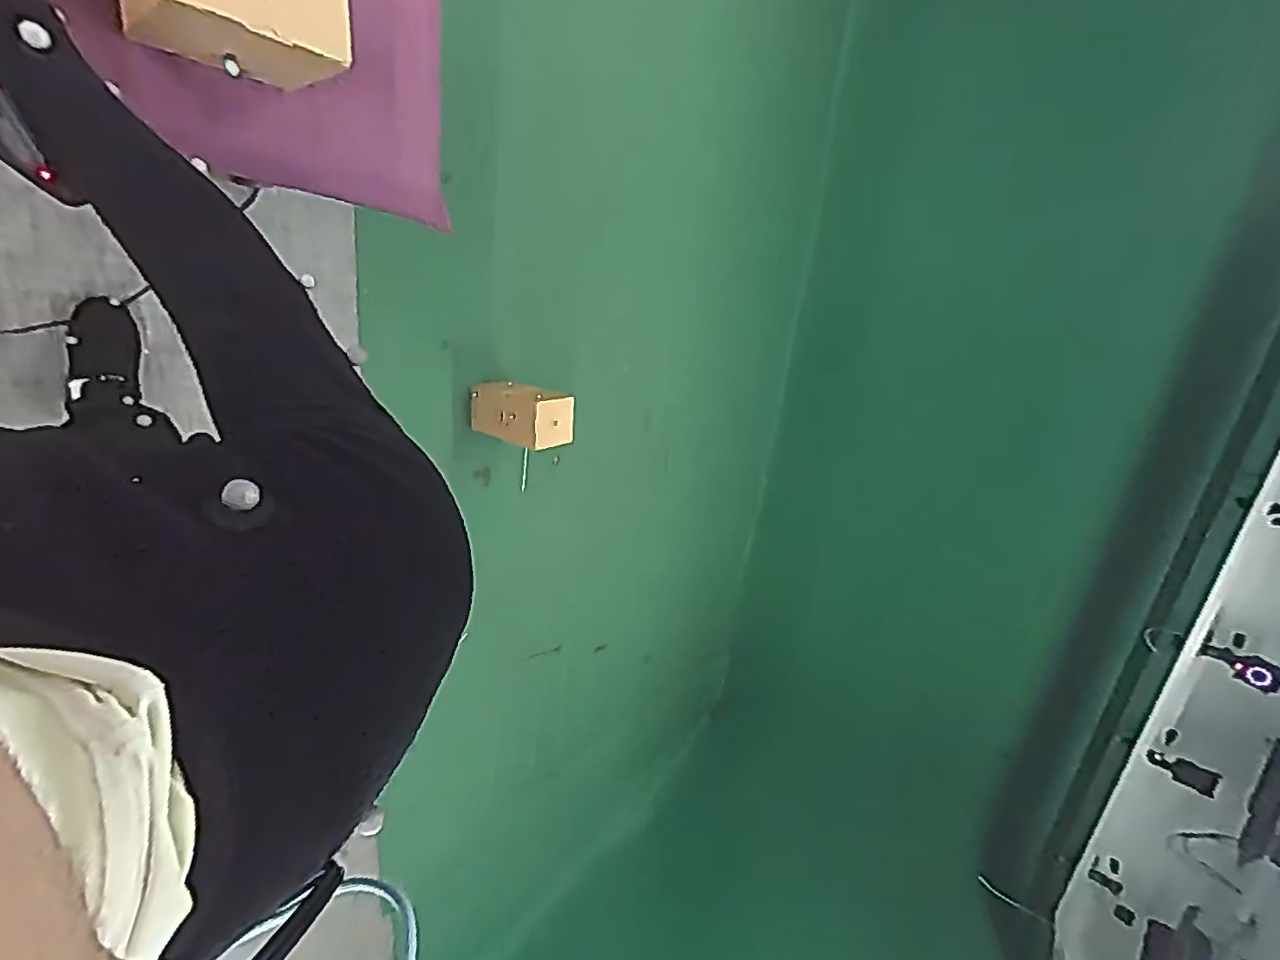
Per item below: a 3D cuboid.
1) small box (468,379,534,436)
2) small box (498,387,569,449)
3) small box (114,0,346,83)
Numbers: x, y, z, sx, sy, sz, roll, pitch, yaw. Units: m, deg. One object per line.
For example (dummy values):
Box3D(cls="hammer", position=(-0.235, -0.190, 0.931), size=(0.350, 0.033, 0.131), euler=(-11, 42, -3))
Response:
Box3D(cls="small box", position=(-0.502, -0.265, 1.948), size=(0.179, 0.176, 0.168), euler=(-20, 122, -51))
Box3D(cls="small box", position=(-0.369, -0.220, 1.866), size=(0.179, 0.176, 0.168), euler=(-20, 122, -49))
Box3D(cls="small box", position=(-0.438, -0.557, 0.569), size=(0.168, 0.176, 0.179), euler=(-17, 118, -50))
